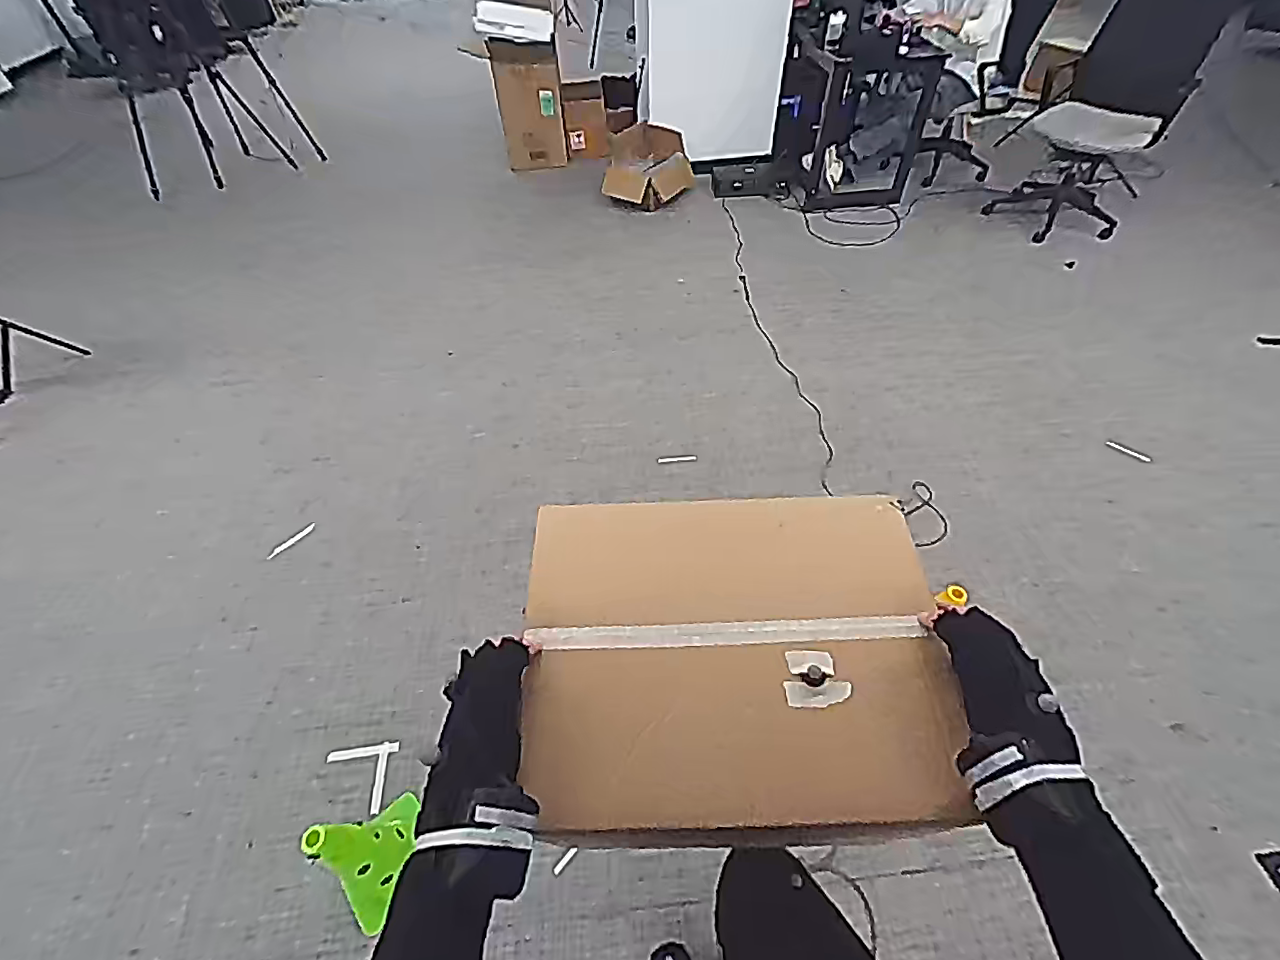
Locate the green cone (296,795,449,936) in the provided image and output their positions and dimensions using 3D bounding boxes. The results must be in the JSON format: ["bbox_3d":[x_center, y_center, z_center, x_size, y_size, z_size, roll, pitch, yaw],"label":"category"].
[{"bbox_3d":[-0.564,0.743,1.079,0.202,0.368,0.200,-37,57,-24],"label":"green cone"}]

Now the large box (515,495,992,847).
[{"bbox_3d":[0.091,0.238,0.649,0.408,0.320,0.320,-2,53,1],"label":"large box"}]
